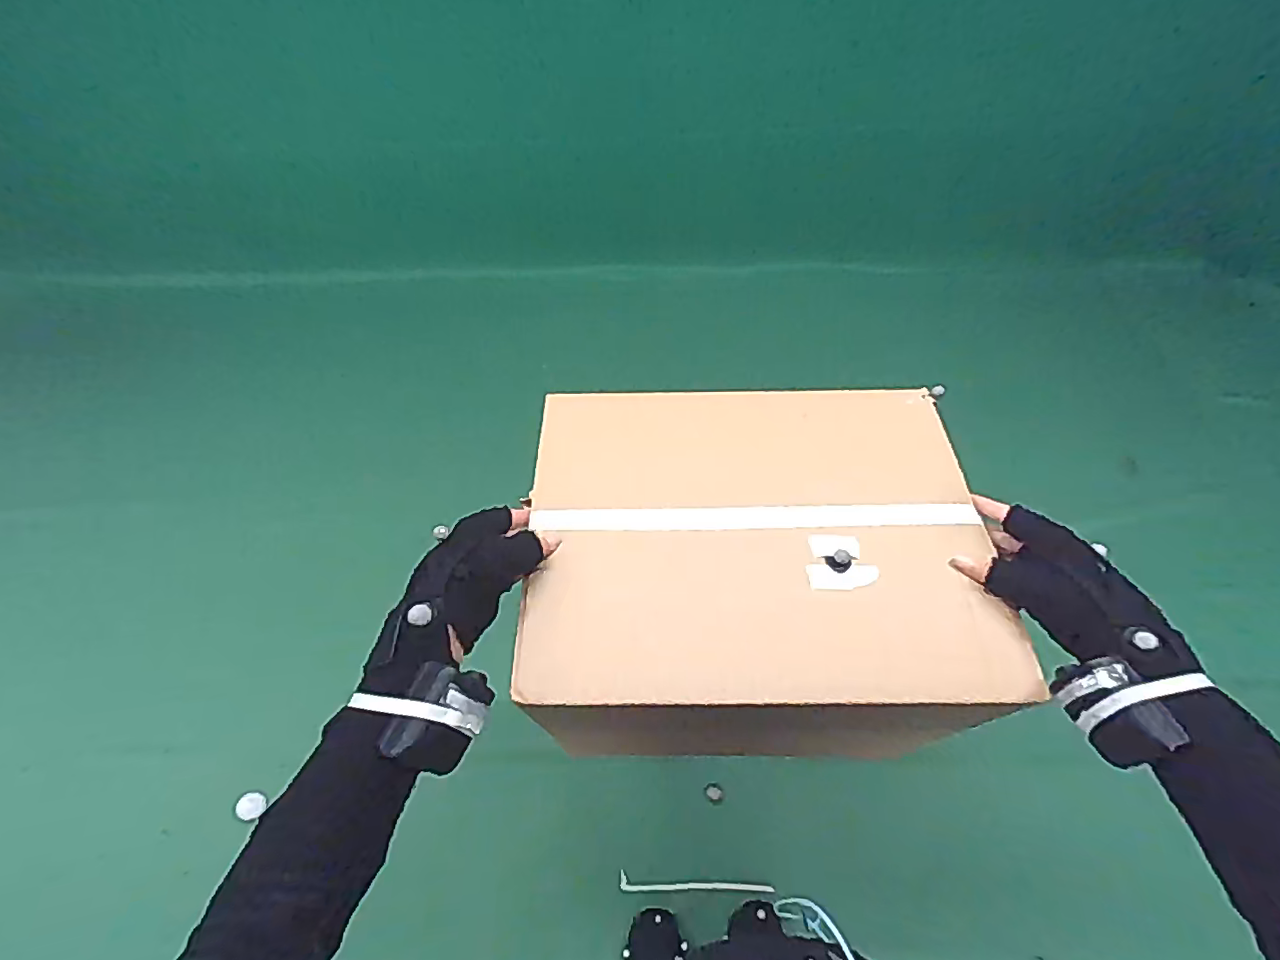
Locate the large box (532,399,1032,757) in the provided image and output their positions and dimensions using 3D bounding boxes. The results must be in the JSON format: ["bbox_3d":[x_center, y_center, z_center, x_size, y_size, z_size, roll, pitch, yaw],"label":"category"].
[{"bbox_3d":[0.109,0.125,0.627,0.408,0.320,0.320,-1,57,0],"label":"large box"}]
